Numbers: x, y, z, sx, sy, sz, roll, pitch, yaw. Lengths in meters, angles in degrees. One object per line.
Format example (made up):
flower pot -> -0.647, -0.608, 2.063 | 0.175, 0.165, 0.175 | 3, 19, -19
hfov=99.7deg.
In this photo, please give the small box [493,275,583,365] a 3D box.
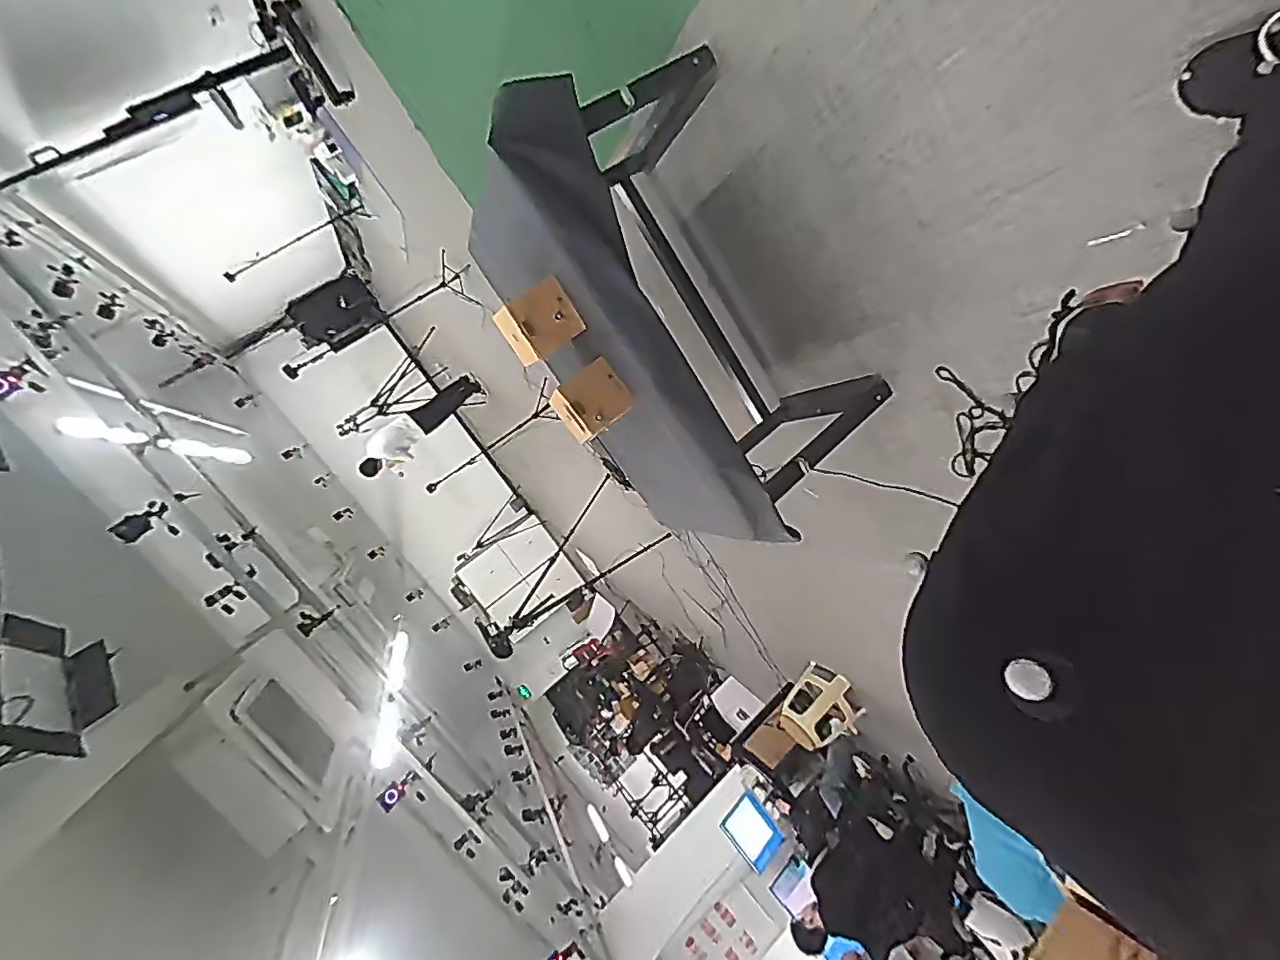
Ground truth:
small box -> -0.285, -0.446, 1.519 | 0.168, 0.176, 0.179 | 58, 161, -18
